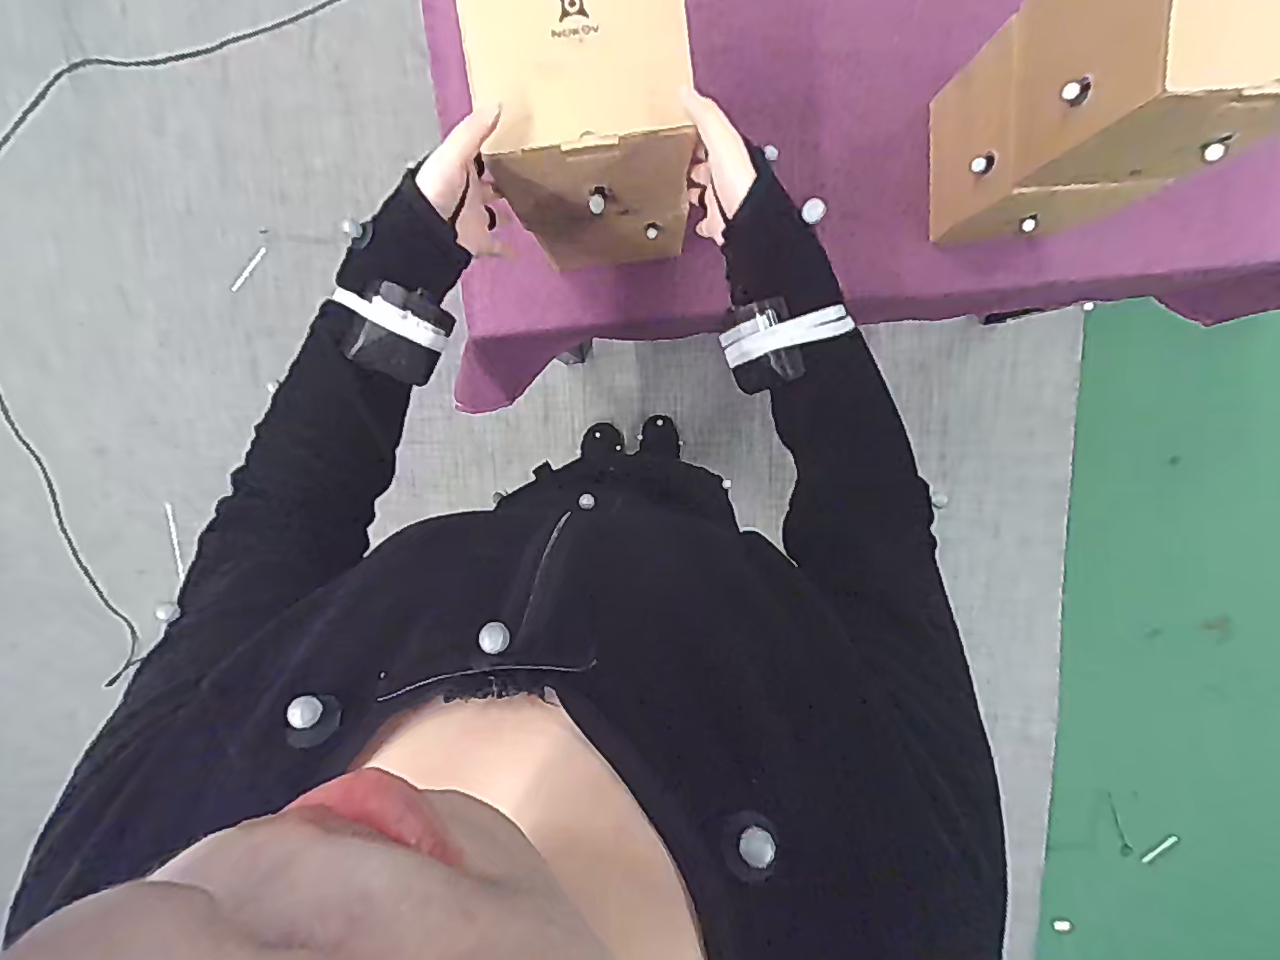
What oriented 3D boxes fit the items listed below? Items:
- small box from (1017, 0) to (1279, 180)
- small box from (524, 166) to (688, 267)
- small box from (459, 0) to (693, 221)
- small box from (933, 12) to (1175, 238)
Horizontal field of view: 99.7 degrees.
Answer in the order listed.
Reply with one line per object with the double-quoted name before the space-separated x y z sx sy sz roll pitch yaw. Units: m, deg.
"small box" 0.458 -0.374 0.459 0.168 0.176 0.179 -1 97 1
"small box" -0.041 -0.363 0.638 0.179 0.176 0.168 -6 97 1
"small box" -0.048 -0.345 0.475 0.168 0.176 0.179 -7 97 1
"small box" 0.461 -0.391 0.622 0.168 0.176 0.179 -3 97 1
